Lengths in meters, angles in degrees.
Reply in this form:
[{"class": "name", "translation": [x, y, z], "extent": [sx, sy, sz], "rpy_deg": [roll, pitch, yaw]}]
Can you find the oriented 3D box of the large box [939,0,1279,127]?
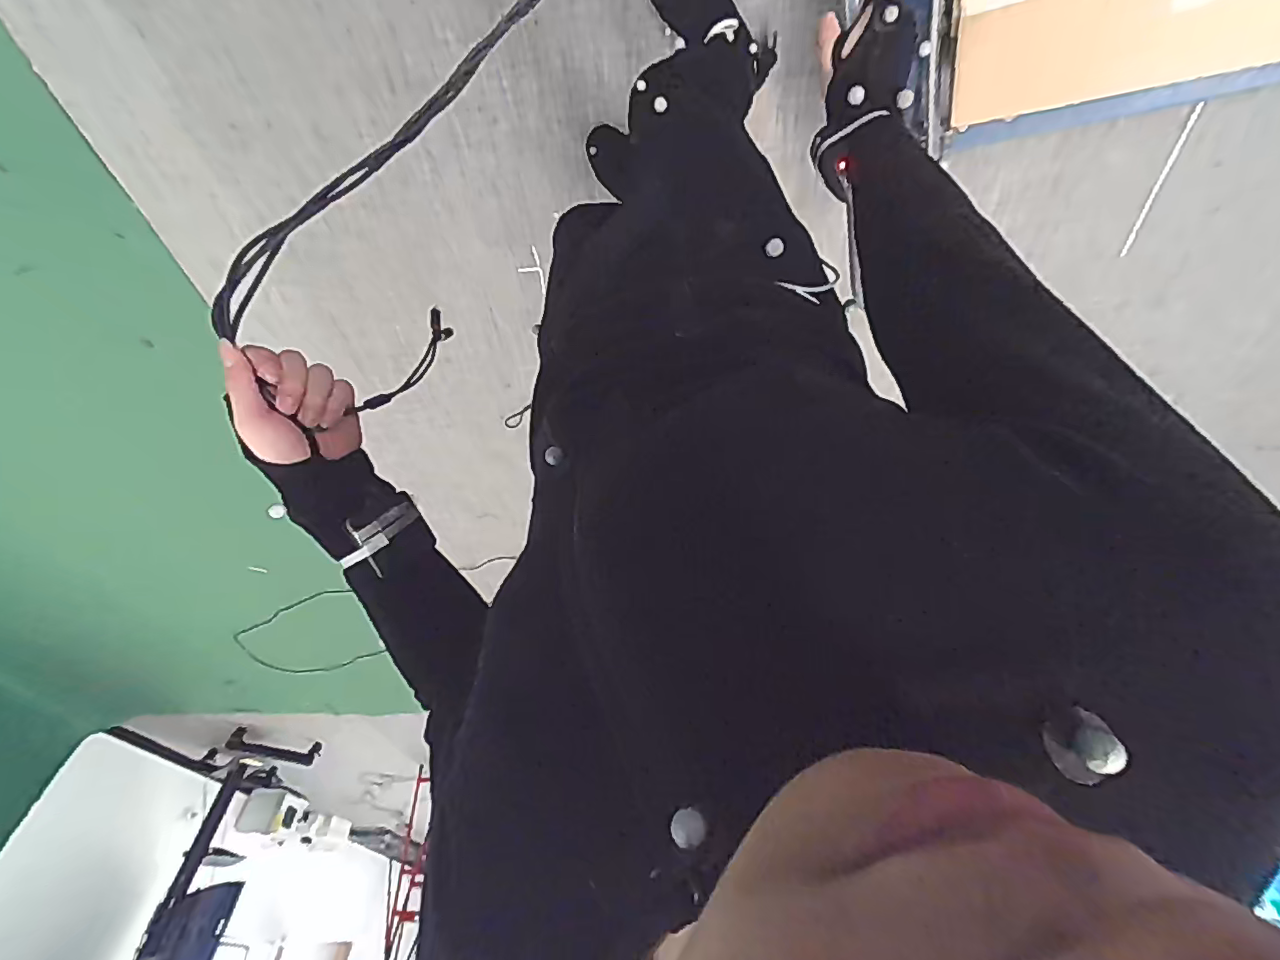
[{"class": "large box", "translation": [0.663, -0.766, 0.766], "extent": [0.408, 0.320, 0.320], "rpy_deg": [3, 140, 25]}]
